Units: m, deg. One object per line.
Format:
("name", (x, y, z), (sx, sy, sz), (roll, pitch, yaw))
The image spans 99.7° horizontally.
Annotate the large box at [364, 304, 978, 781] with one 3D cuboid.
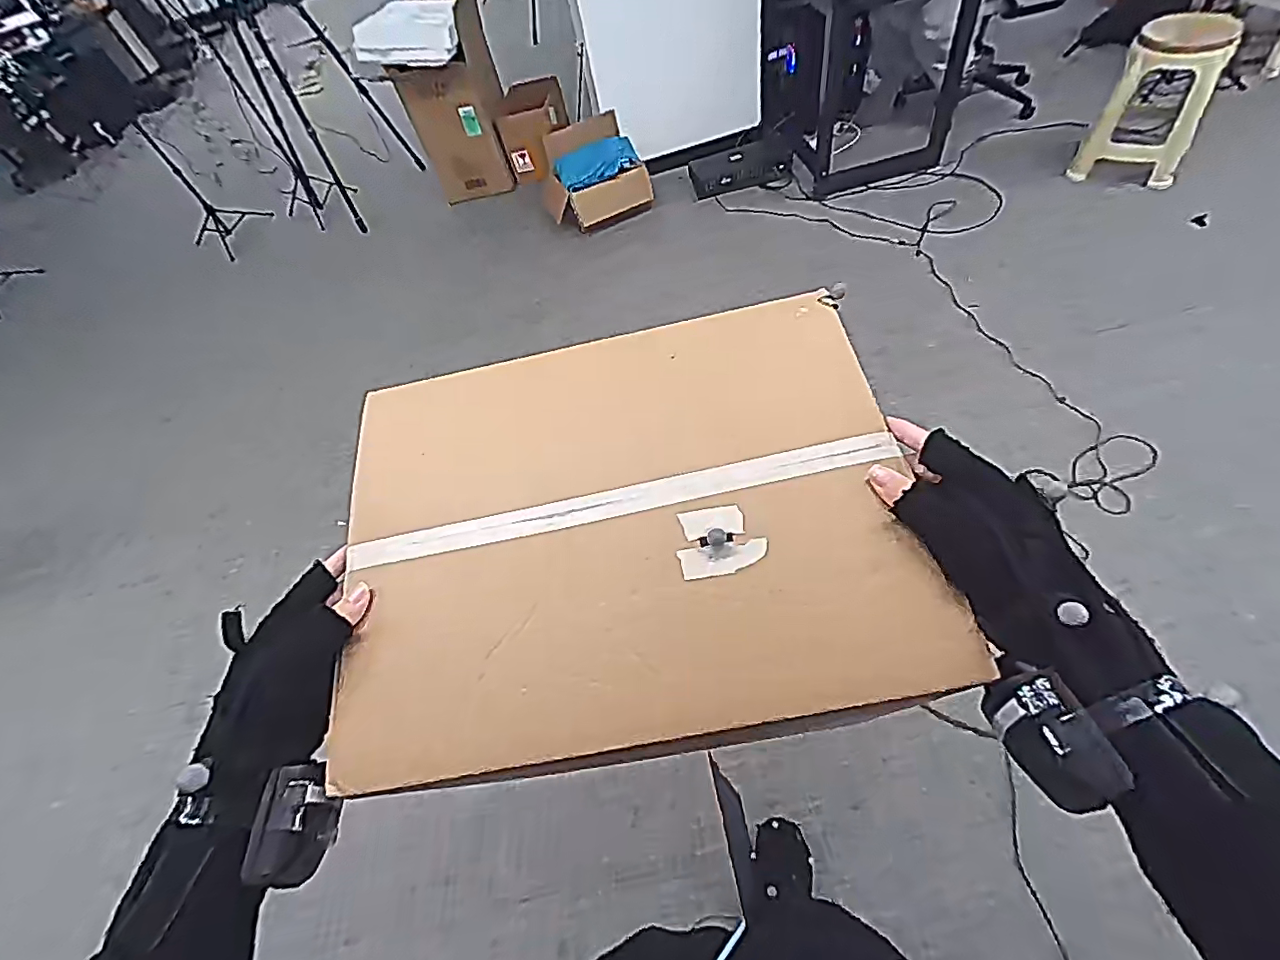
("large box", (0.011, 0.087, 0.538), (0.408, 0.320, 0.320), (-12, 62, 3))
